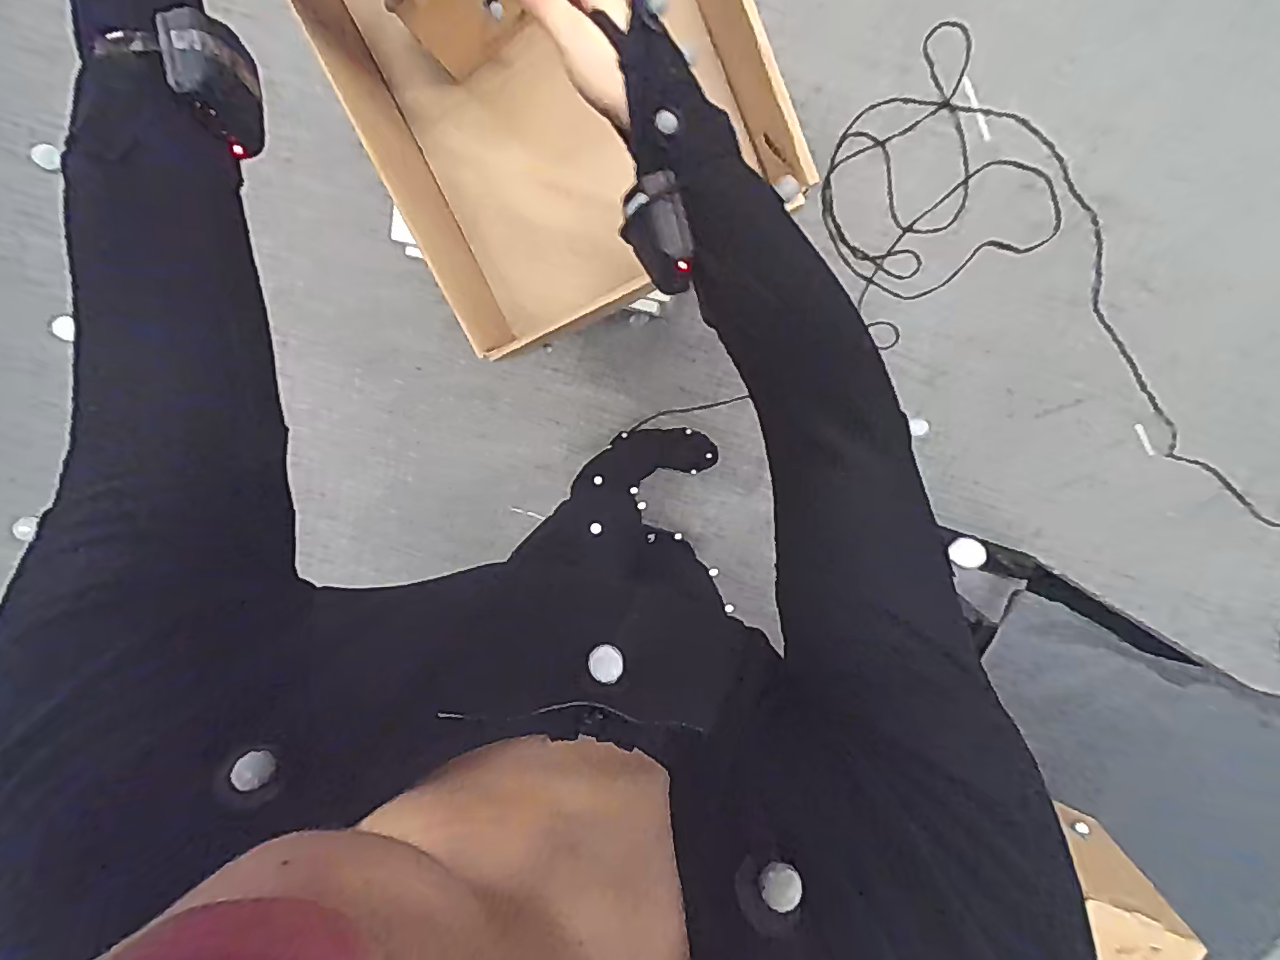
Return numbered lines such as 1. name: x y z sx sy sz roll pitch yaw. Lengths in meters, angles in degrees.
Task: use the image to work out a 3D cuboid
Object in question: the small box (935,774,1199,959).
1. small box: 0.520 0.530 0.696 0.168 0.176 0.179 26 104 -5
